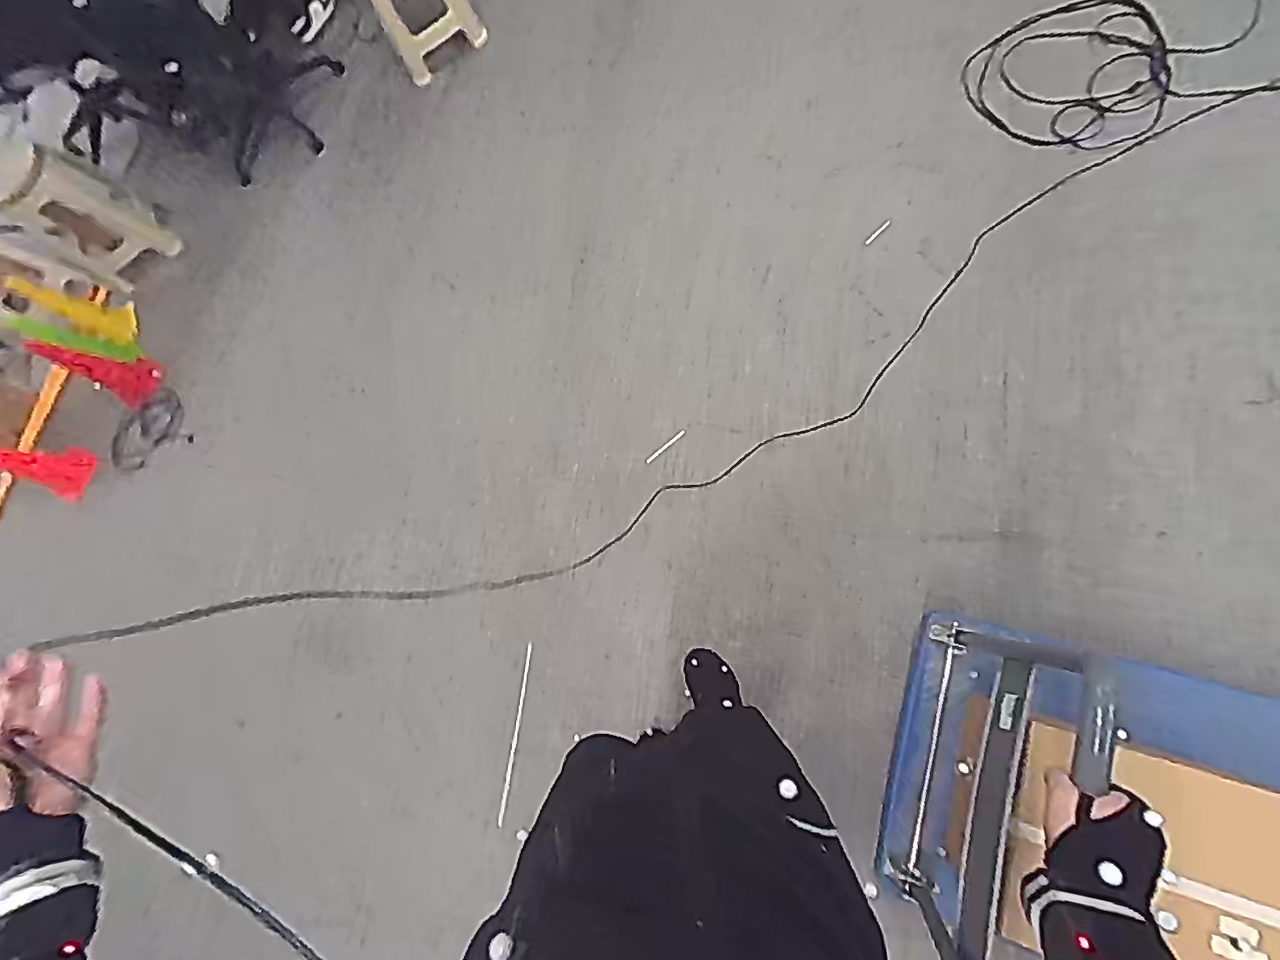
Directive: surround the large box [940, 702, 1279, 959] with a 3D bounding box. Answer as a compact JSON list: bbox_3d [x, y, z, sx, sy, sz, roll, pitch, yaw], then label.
[{"bbox_3d":[0.778,0.604,0.908,0.408,0.320,0.320,12,80,17],"label":"large box"}]
